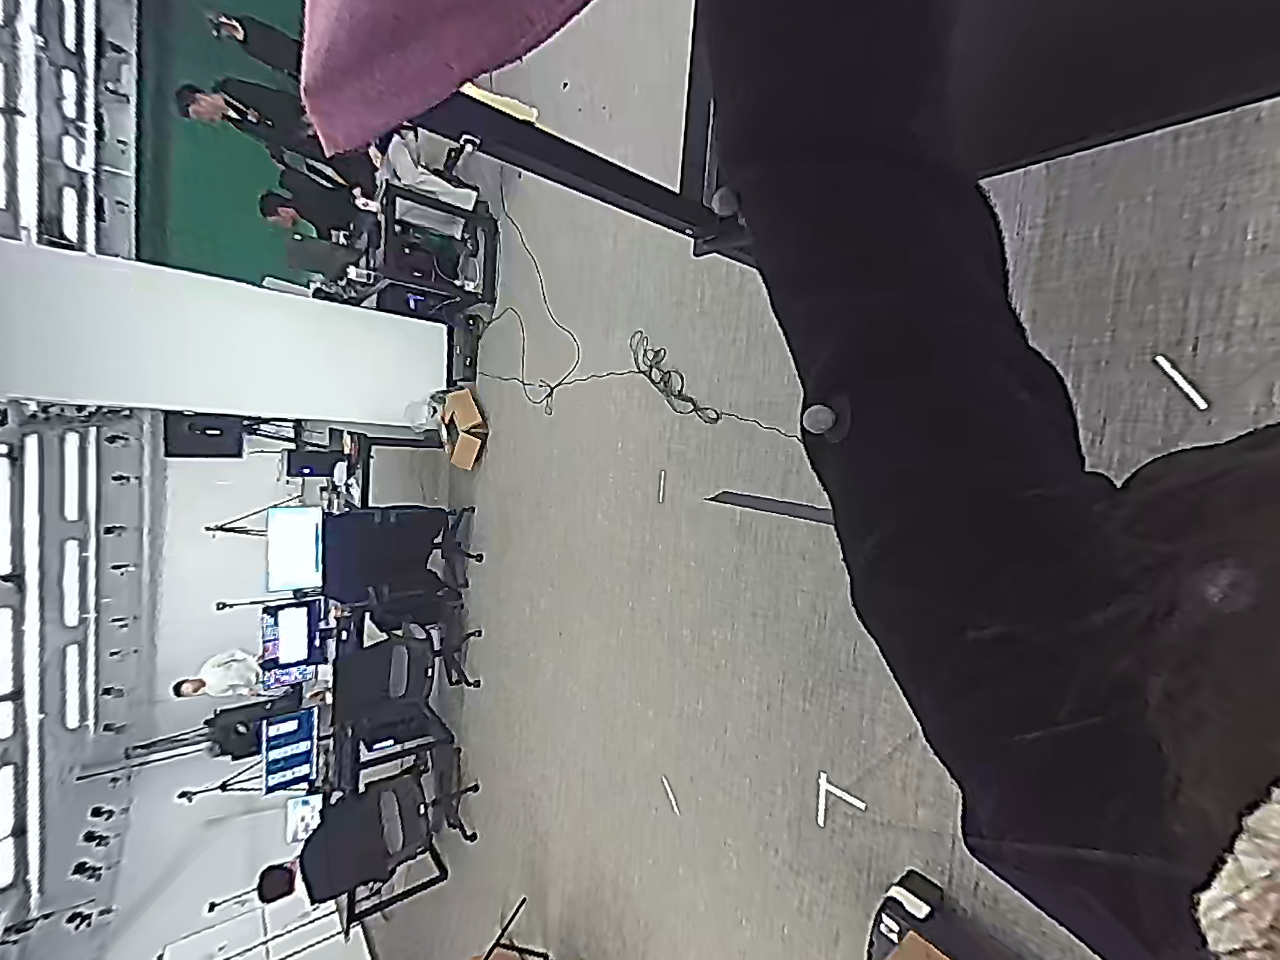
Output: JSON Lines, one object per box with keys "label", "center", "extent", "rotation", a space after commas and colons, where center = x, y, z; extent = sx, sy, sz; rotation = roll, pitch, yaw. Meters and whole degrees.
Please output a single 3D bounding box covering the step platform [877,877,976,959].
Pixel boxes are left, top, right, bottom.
{"label": "step platform", "center": [0.887, 1.280, 1.200], "extent": [0.684, 0.204, 0.286], "rotation": [19, 103, 49]}
